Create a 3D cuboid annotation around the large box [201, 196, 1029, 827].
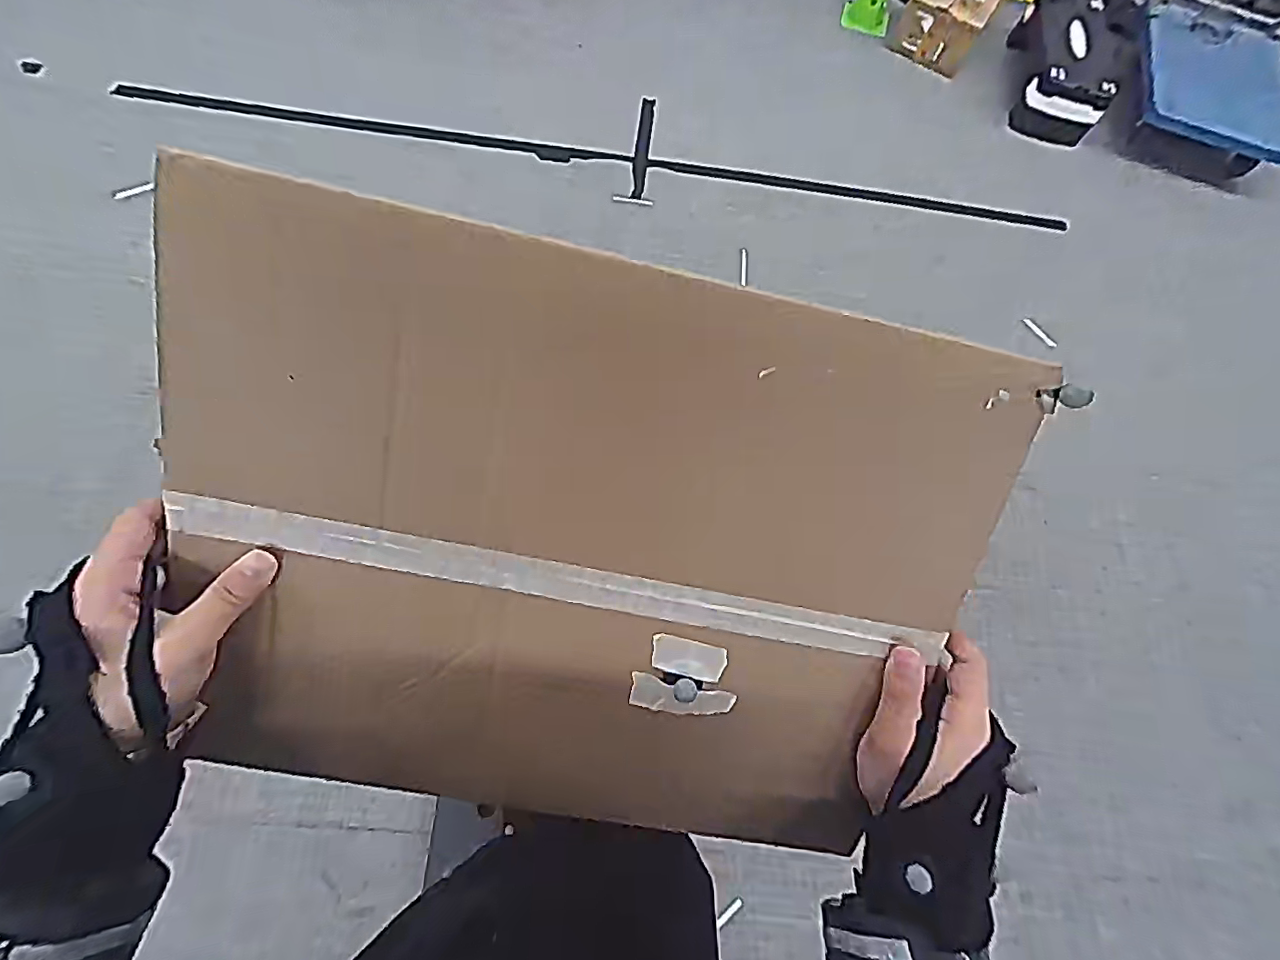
[{"bbox_3d":[-0.034,0.008,0.436,0.408,0.320,0.320,11,108,-6],"label":"large box"}]
